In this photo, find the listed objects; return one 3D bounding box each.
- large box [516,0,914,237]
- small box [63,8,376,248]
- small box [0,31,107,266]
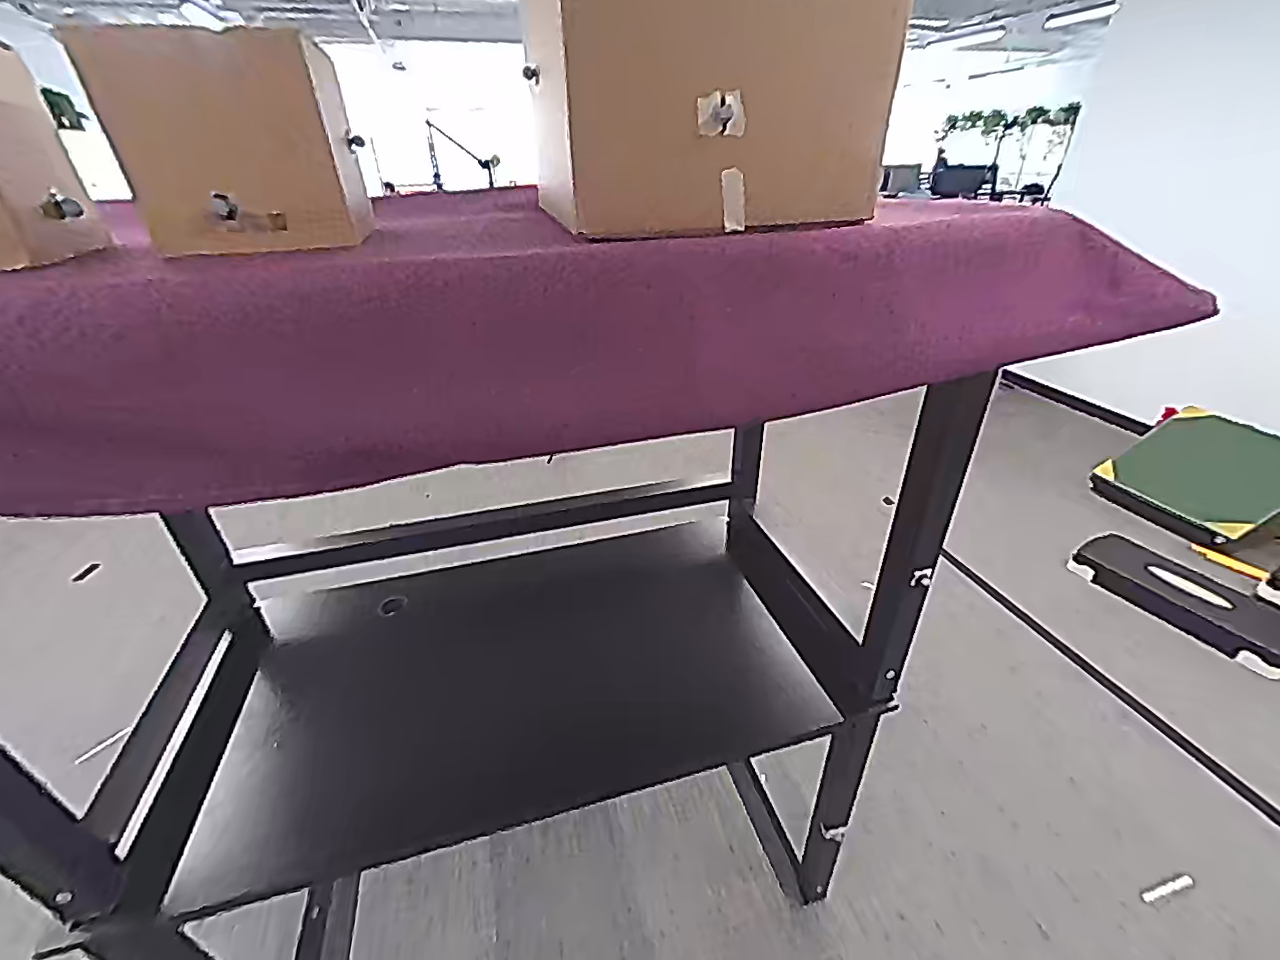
[{"bbox_3d":[0.041,-0.465,0.606,0.320,0.320,0.408,-8,31,-12],"label":"large box"},{"bbox_3d":[-0.370,-0.327,0.525,0.168,0.176,0.179,-11,33,-13],"label":"small box"},{"bbox_3d":[-0.594,-0.271,0.439,0.168,0.176,0.179,-14,33,-20],"label":"small box"}]
